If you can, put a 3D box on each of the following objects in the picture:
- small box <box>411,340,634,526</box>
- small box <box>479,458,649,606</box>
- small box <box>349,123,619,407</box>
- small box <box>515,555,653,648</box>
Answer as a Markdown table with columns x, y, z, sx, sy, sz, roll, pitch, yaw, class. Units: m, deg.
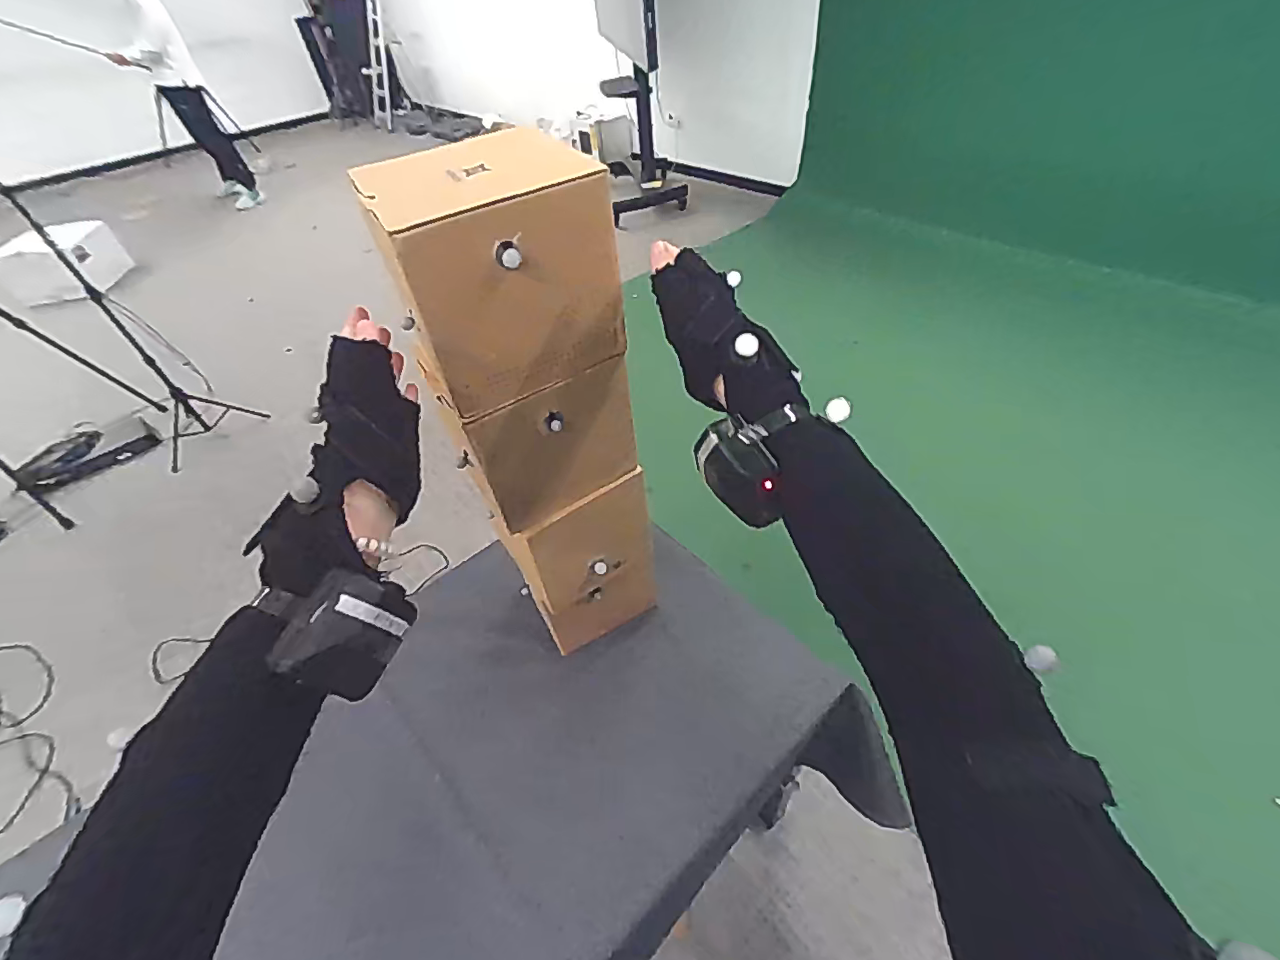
| x | y | z | sx | sy | sz | roll | pitch | yaw | class |
| --- | --- | --- | --- | --- | --- | --- | --- | --- | --- |
| -0.123 | -0.079 | 0.609 | 0.179 | 0.176 | 0.168 | -28 | 50 | -19 | small box |
| -0.104 | 0.033 | 0.726 | 0.168 | 0.176 | 0.179 | -31 | 51 | -21 | small box |
| -0.130 | -0.197 | 0.498 | 0.179 | 0.176 | 0.168 | -27 | 50 | -17 | small box |
| -0.093 | 0.133 | 0.857 | 0.179 | 0.176 | 0.168 | -25 | 49 | -17 | small box |
